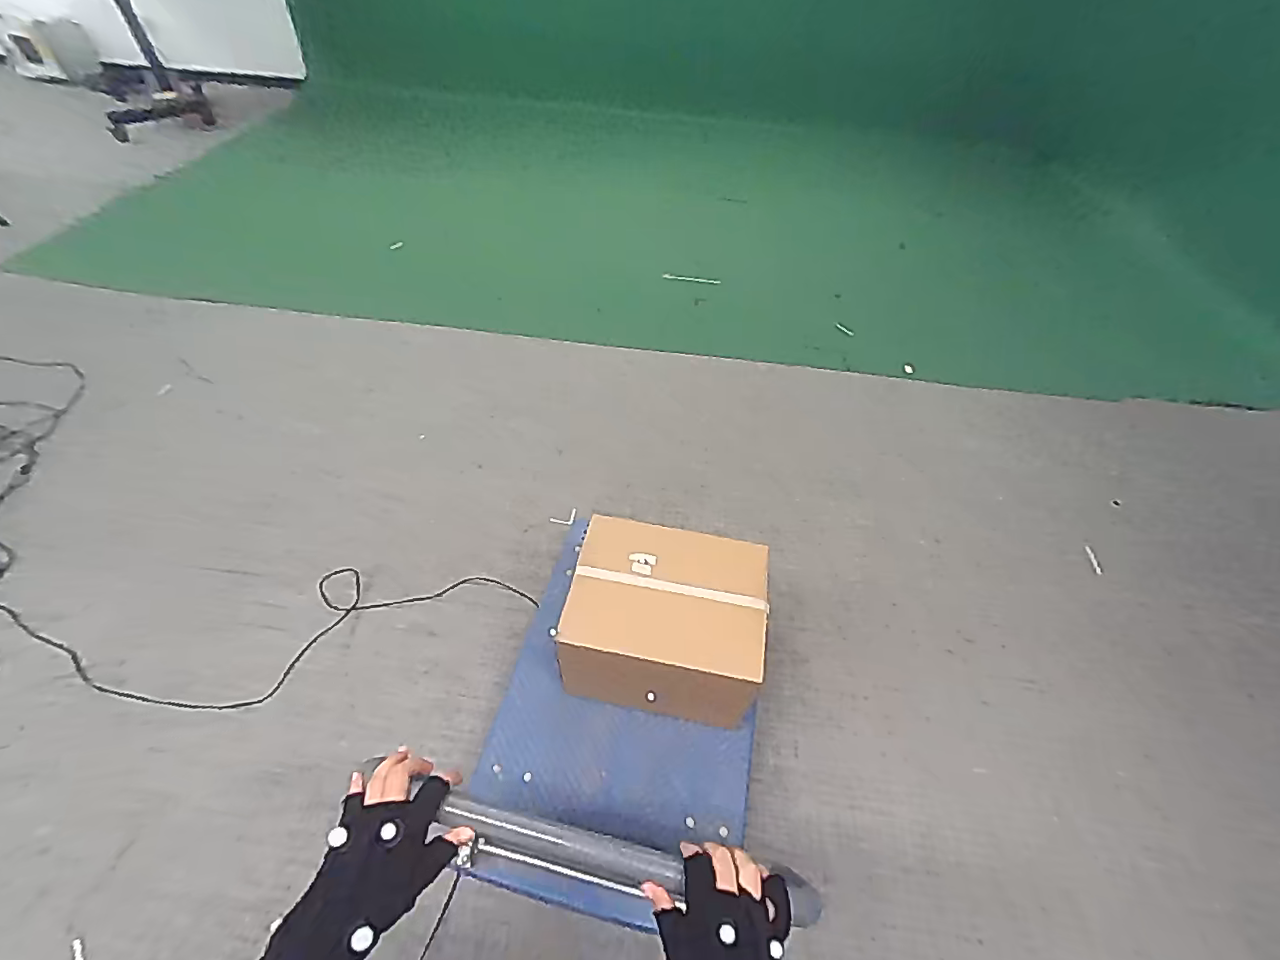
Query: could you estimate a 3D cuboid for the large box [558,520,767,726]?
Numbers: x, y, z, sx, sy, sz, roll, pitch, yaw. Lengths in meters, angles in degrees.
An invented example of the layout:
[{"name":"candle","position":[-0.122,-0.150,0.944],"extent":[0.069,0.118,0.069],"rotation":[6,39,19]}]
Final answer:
[{"name":"large box","position":[0.059,0.331,1.238],"extent":[0.408,0.320,0.320],"rotation":[10,49,5]}]
